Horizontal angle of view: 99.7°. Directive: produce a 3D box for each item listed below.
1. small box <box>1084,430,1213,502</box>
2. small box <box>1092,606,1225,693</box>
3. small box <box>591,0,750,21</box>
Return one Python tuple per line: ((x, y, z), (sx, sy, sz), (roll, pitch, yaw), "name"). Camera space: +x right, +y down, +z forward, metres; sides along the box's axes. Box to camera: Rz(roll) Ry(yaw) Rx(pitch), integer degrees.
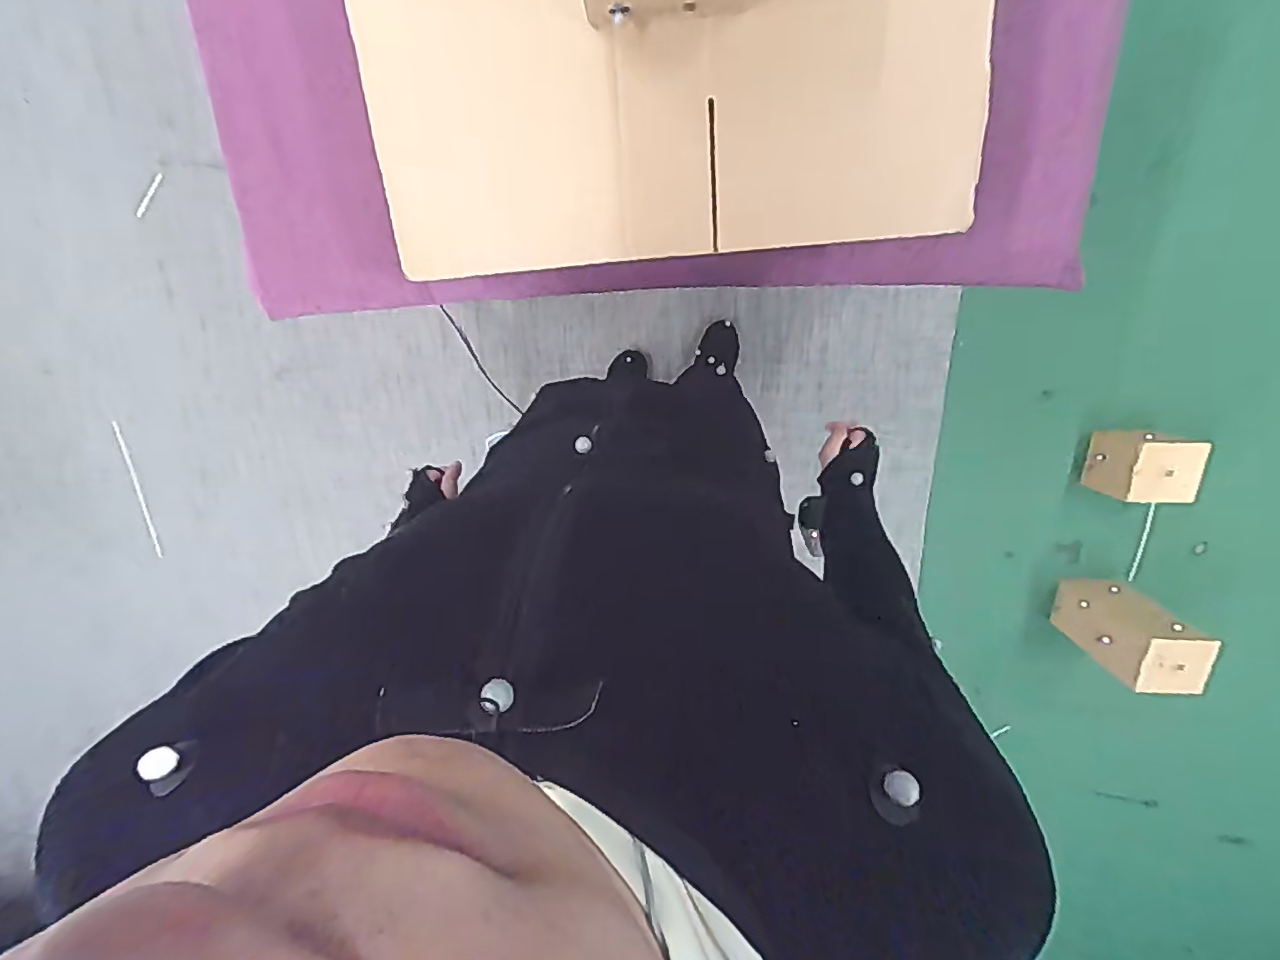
((1.395, -0.043, 1.496), (0.179, 0.176, 0.168), (0, 108, 3), "small box")
((1.406, 0.458, 1.480), (0.179, 0.176, 0.168), (1, 108, 2), "small box")
((0.025, -0.528, 0.455), (0.168, 0.176, 0.179), (-5, 107, 2), "small box")
